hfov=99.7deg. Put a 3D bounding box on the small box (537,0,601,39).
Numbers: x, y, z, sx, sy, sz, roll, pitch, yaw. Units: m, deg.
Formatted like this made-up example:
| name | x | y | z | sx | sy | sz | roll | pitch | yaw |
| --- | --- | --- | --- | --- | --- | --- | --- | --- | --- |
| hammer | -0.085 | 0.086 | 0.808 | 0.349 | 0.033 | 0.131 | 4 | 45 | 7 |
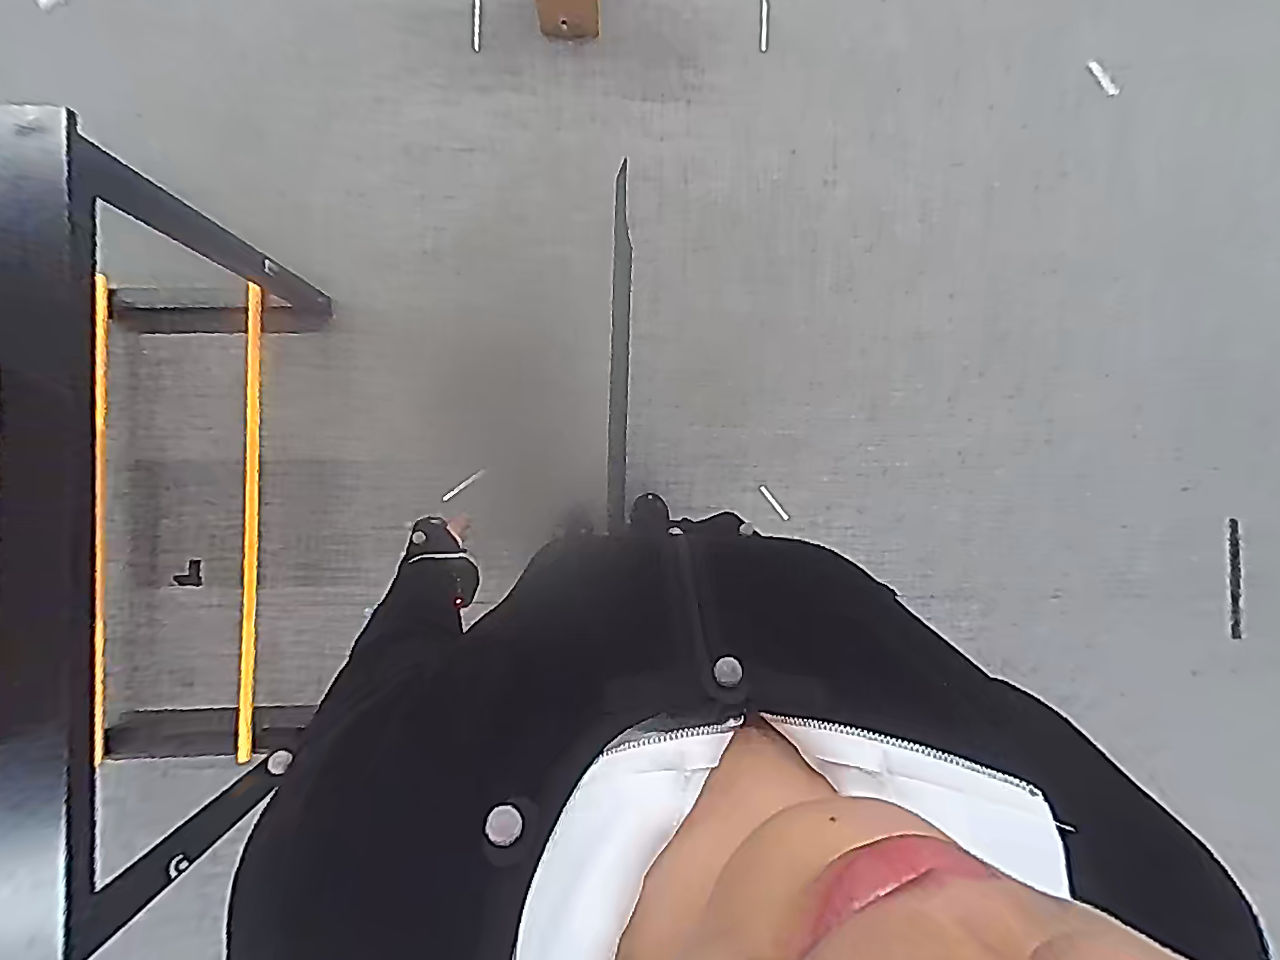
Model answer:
| name | x | y | z | sx | sy | sz | roll | pitch | yaw |
| --- | --- | --- | --- | --- | --- | --- | --- | --- | --- |
| small box | -0.189 | -1.312 | 1.417 | 0.168 | 0.176 | 0.179 | -2 | 91 | -2 |
